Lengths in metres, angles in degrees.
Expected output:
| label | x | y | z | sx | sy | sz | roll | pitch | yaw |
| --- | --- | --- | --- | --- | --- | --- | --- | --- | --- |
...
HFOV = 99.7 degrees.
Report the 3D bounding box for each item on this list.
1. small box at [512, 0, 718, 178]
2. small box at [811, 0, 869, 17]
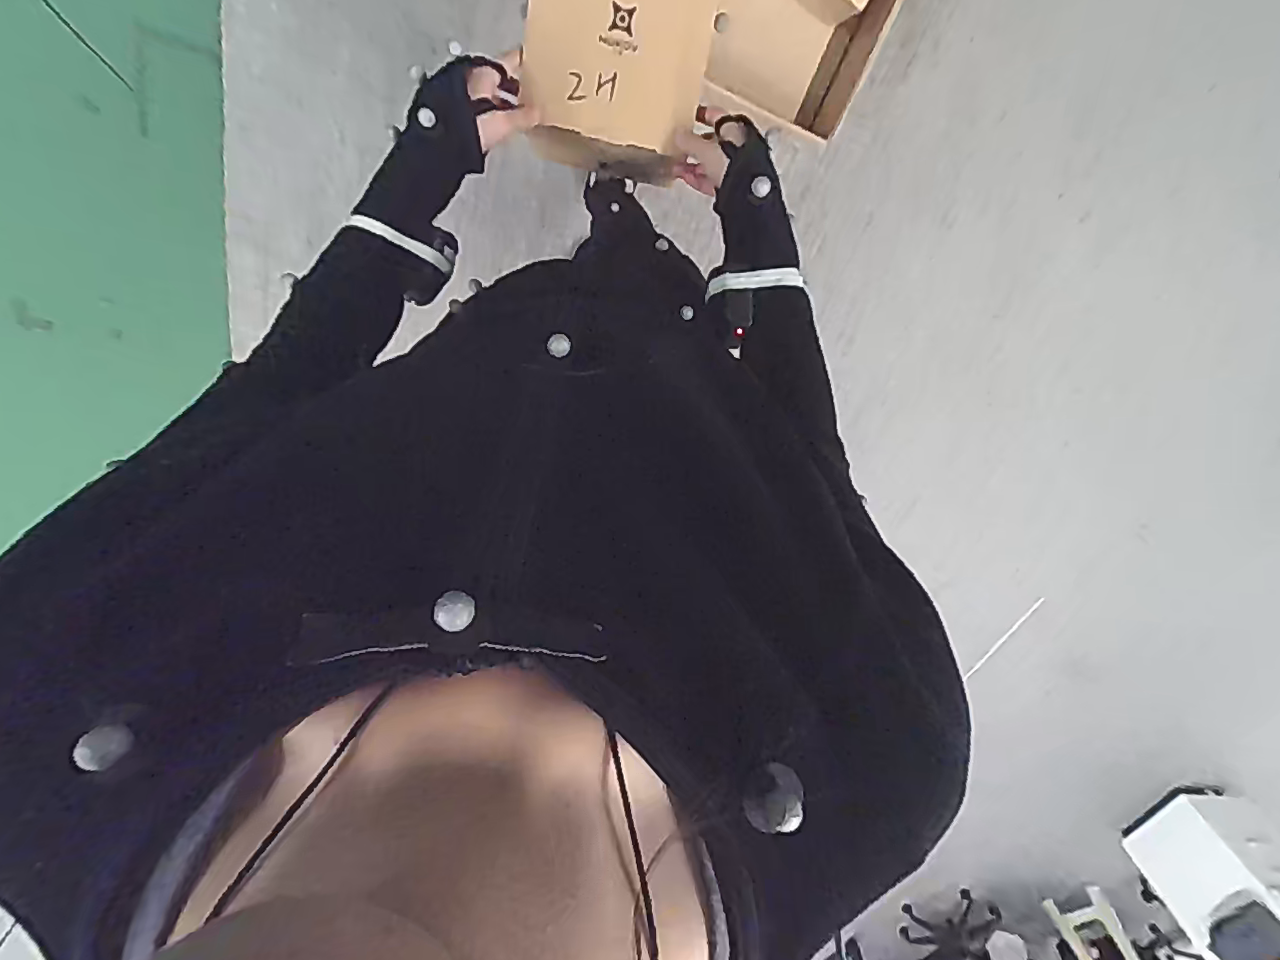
| label | x | y | z | sx | sy | sz | roll | pitch | yaw |
| --- | --- | --- | --- | --- | --- | --- | --- | --- | --- |
| small box | -0.022 | -0.435 | 0.551 | 0.168 | 0.176 | 0.179 | 12 | 110 | -6 |
| small box | 0.351 | -0.944 | 0.926 | 0.179 | 0.176 | 0.168 | 27 | 119 | -16 |
